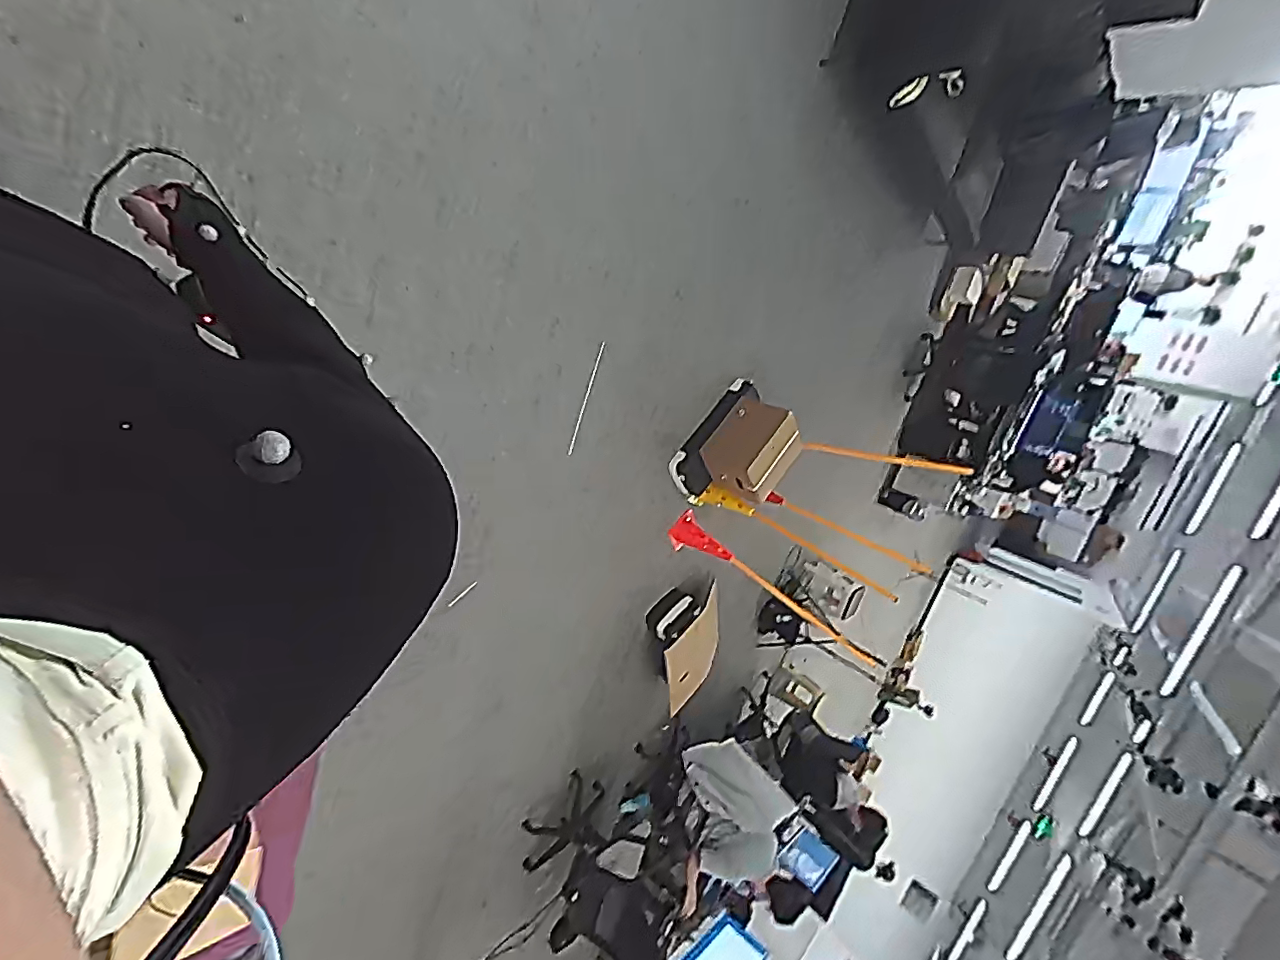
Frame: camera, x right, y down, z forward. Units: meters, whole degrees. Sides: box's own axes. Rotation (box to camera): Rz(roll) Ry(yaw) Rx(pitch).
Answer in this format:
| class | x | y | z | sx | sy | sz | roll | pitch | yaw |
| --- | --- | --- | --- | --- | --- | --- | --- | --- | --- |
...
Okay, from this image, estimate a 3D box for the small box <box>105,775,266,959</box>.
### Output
| class | x | y | z | sx | sy | sz | roll | pitch | yaw |
| --- | --- | --- | --- | --- | --- | --- | --- | --- | --- |
| small box | -0.721 | 0.617 | 0.856 | 0.168 | 0.176 | 0.179 | 1 | 110 | -50 |
